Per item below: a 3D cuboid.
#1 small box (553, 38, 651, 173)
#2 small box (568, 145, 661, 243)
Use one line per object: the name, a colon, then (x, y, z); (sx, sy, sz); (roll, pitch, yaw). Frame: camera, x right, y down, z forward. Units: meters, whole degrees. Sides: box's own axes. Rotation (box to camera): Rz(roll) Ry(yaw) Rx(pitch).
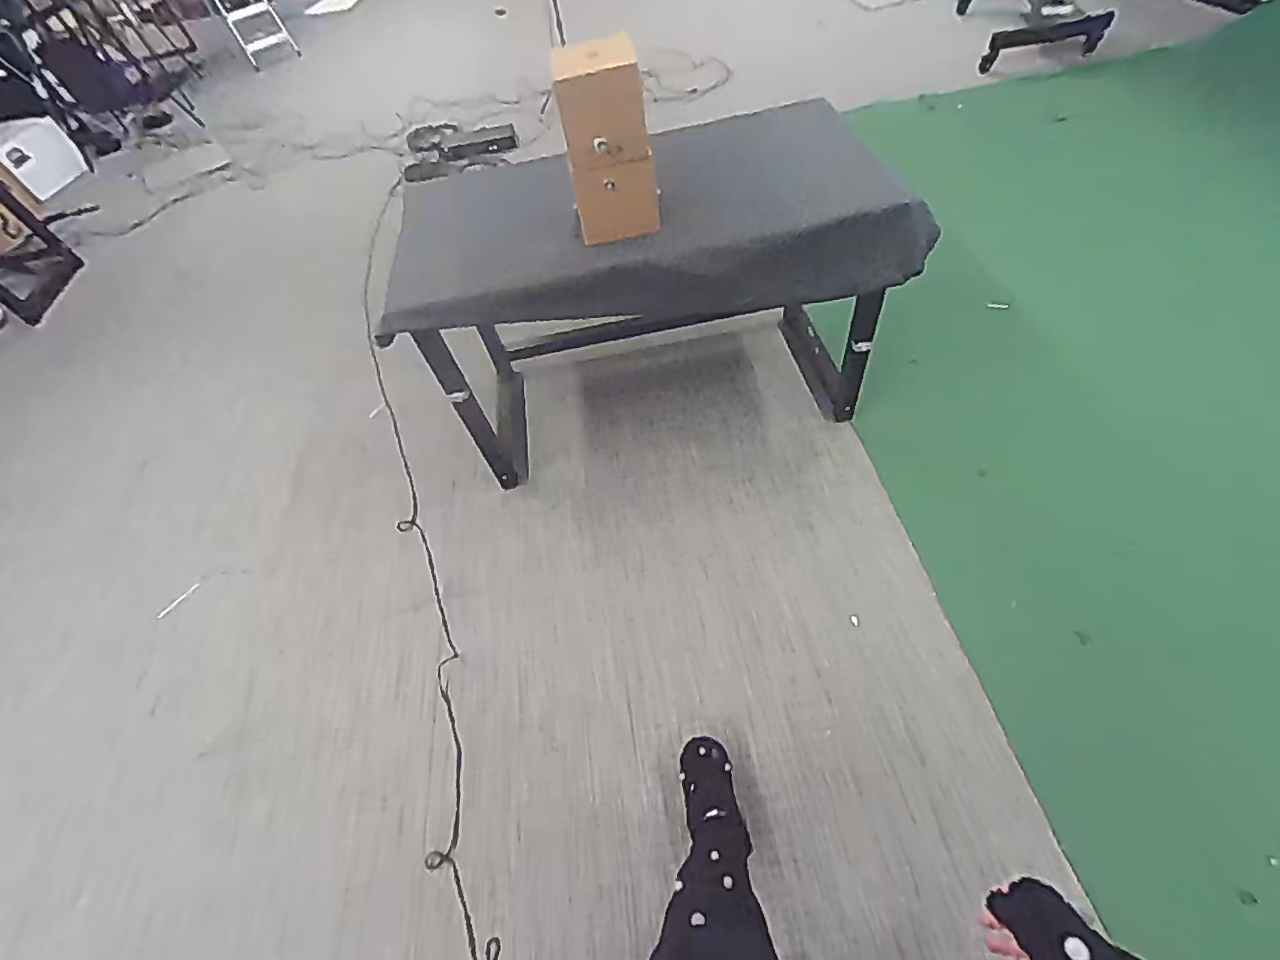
small box: (-0.076, -0.764, 1.110); (0.168, 0.176, 0.179); (-12, 54, 2)
small box: (-0.056, -0.667, 1.237); (0.179, 0.176, 0.168); (-11, 53, 0)
